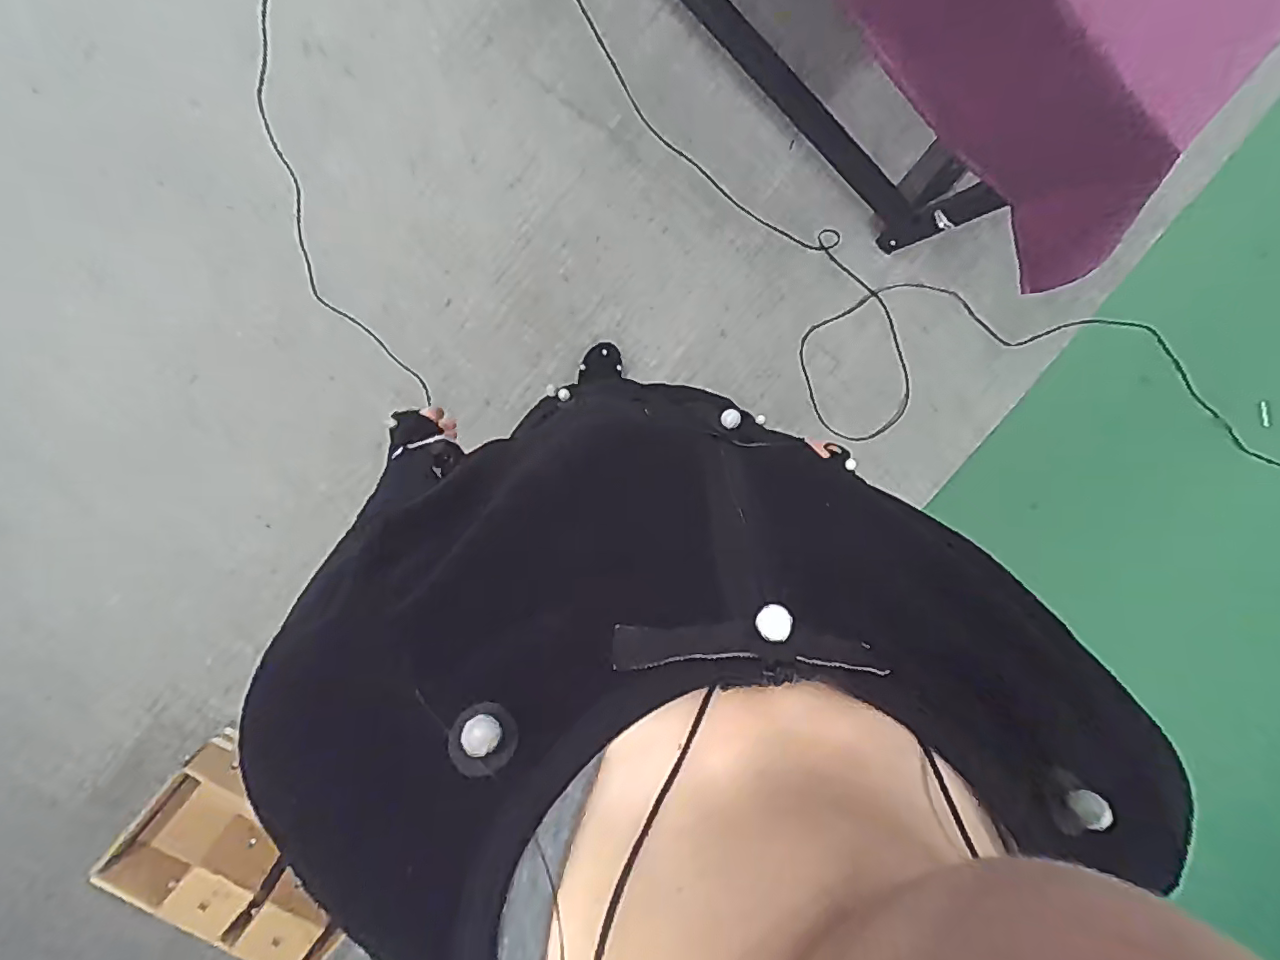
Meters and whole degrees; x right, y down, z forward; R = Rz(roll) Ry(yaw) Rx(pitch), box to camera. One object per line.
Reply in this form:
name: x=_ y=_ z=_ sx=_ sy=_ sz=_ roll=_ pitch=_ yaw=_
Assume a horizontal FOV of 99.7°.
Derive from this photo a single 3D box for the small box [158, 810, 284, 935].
small box: x=-1.105 y=1.041 z=1.444 sx=0.168 sy=0.176 sz=0.179 roll=41 pitch=93 yaw=-13
